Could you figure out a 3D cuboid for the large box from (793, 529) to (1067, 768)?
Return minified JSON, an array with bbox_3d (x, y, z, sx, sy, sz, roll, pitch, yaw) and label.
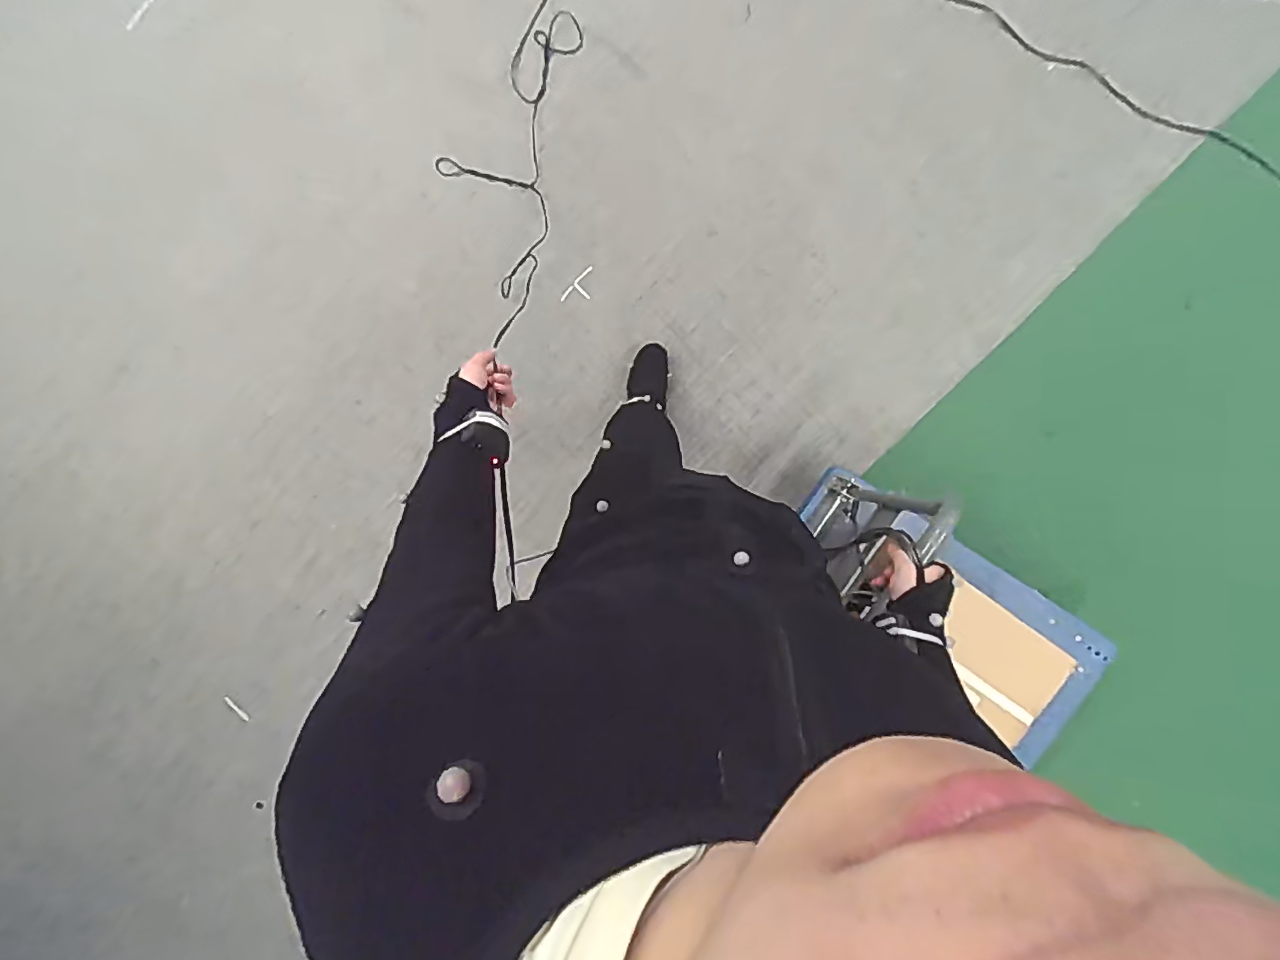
[{"bbox_3d":[0.640,0.363,1.273,0.408,0.320,0.320,36,95,0],"label":"large box"}]
